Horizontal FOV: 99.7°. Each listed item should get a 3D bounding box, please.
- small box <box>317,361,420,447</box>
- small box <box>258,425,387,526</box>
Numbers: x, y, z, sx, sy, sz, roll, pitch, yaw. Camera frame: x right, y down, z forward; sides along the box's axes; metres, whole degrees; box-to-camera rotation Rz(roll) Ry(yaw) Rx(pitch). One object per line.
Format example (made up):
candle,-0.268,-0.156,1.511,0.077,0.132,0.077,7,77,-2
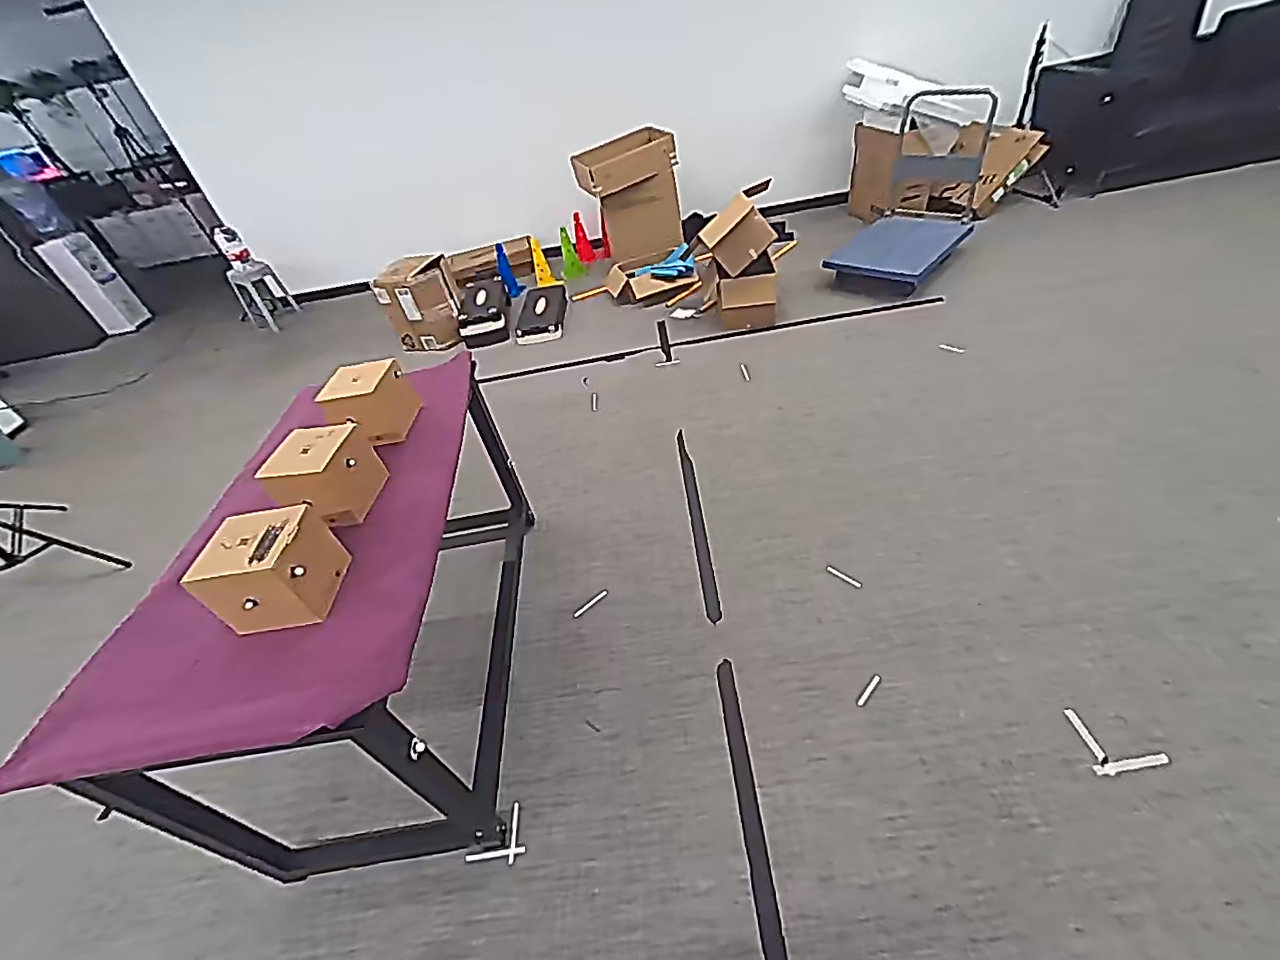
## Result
small box,-0.736,-0.202,1.491,0.168,0.176,0.179,-8,41,6
small box,-0.727,-0.005,1.265,0.168,0.176,0.179,-4,41,8
